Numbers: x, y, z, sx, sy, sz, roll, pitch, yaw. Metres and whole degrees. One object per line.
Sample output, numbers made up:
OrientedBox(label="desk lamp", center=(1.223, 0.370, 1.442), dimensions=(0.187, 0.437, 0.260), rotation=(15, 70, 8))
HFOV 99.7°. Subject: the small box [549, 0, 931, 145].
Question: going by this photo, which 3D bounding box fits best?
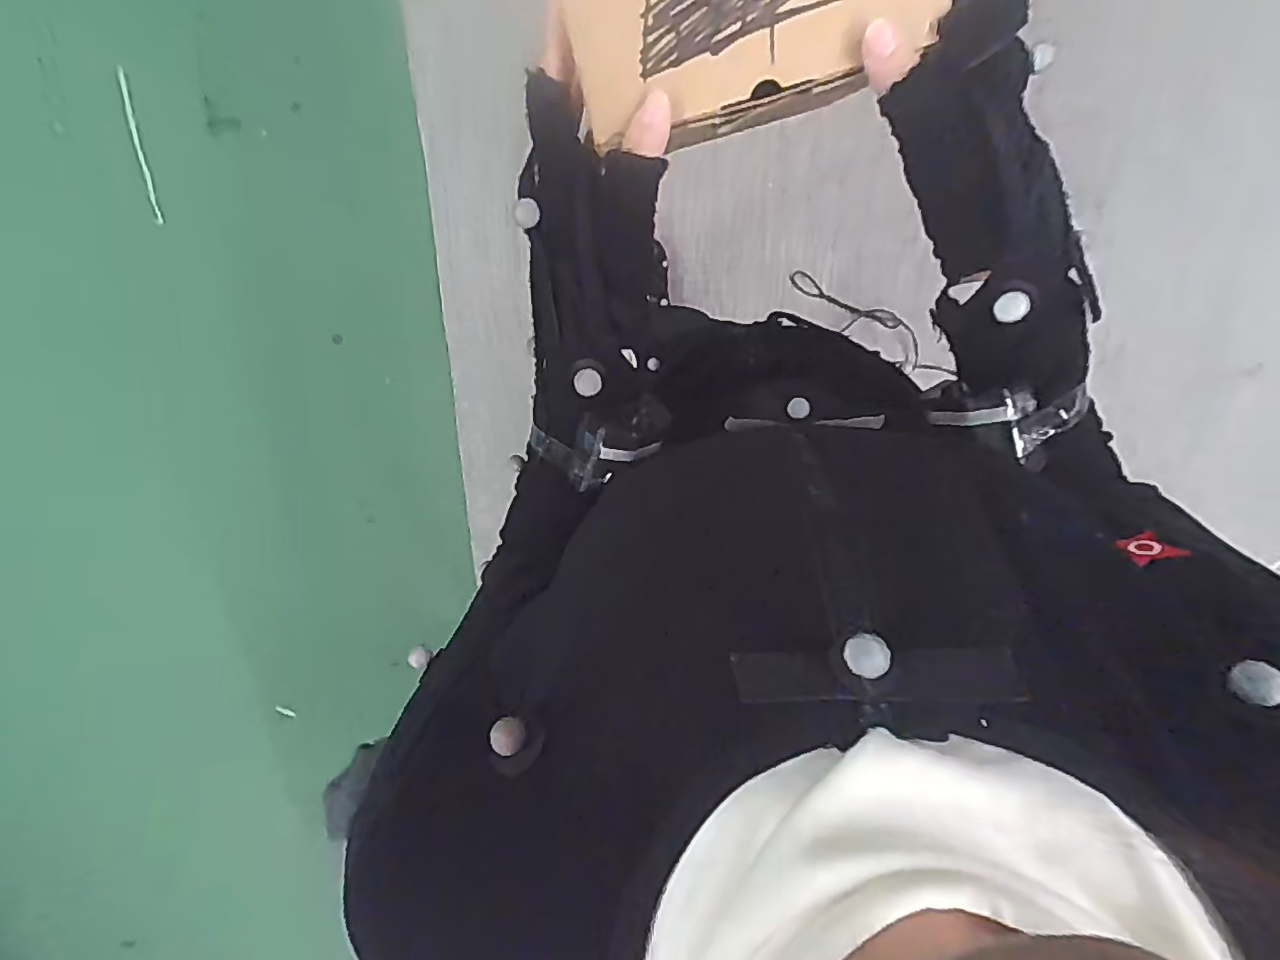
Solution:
OrientedBox(label="small box", center=(0.033, -0.296, 0.285), dimensions=(0.168, 0.176, 0.179), rotation=(-12, 115, 7))
